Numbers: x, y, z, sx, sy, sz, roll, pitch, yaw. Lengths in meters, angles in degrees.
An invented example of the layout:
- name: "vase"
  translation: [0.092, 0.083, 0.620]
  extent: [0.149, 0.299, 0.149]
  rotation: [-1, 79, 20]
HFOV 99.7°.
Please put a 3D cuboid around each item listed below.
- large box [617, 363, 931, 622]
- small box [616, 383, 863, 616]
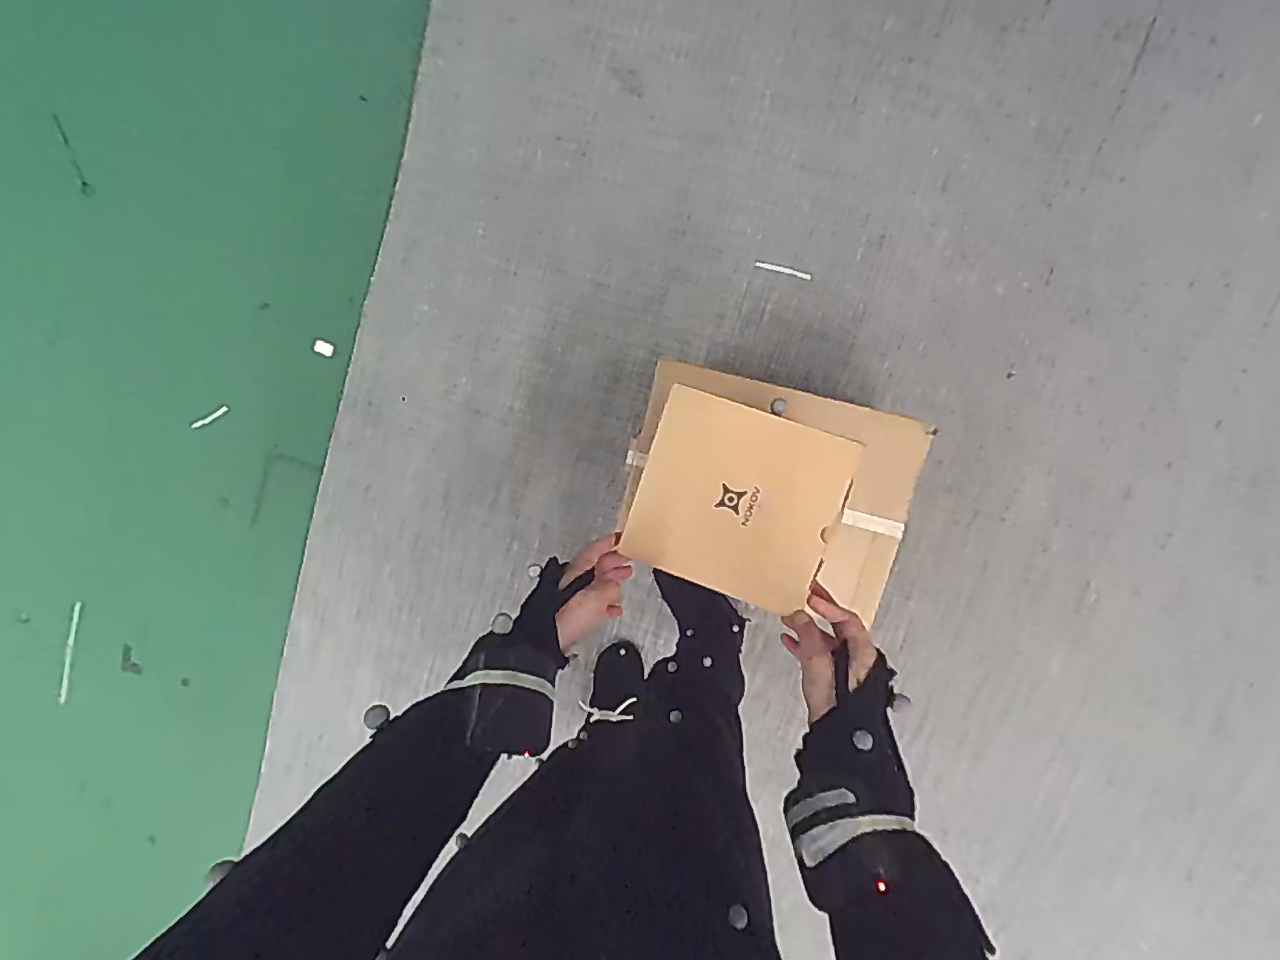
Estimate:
- name: "large box"
  translation: [0.209, 0.005, 0.949]
  extent: [0.408, 0.320, 0.320]
  rotation: [15, 98, 9]
- name: "small box"
  translation: [0.097, 0.012, 0.556]
  extent: [0.179, 0.176, 0.168]
  rotation: [20, 97, 8]
